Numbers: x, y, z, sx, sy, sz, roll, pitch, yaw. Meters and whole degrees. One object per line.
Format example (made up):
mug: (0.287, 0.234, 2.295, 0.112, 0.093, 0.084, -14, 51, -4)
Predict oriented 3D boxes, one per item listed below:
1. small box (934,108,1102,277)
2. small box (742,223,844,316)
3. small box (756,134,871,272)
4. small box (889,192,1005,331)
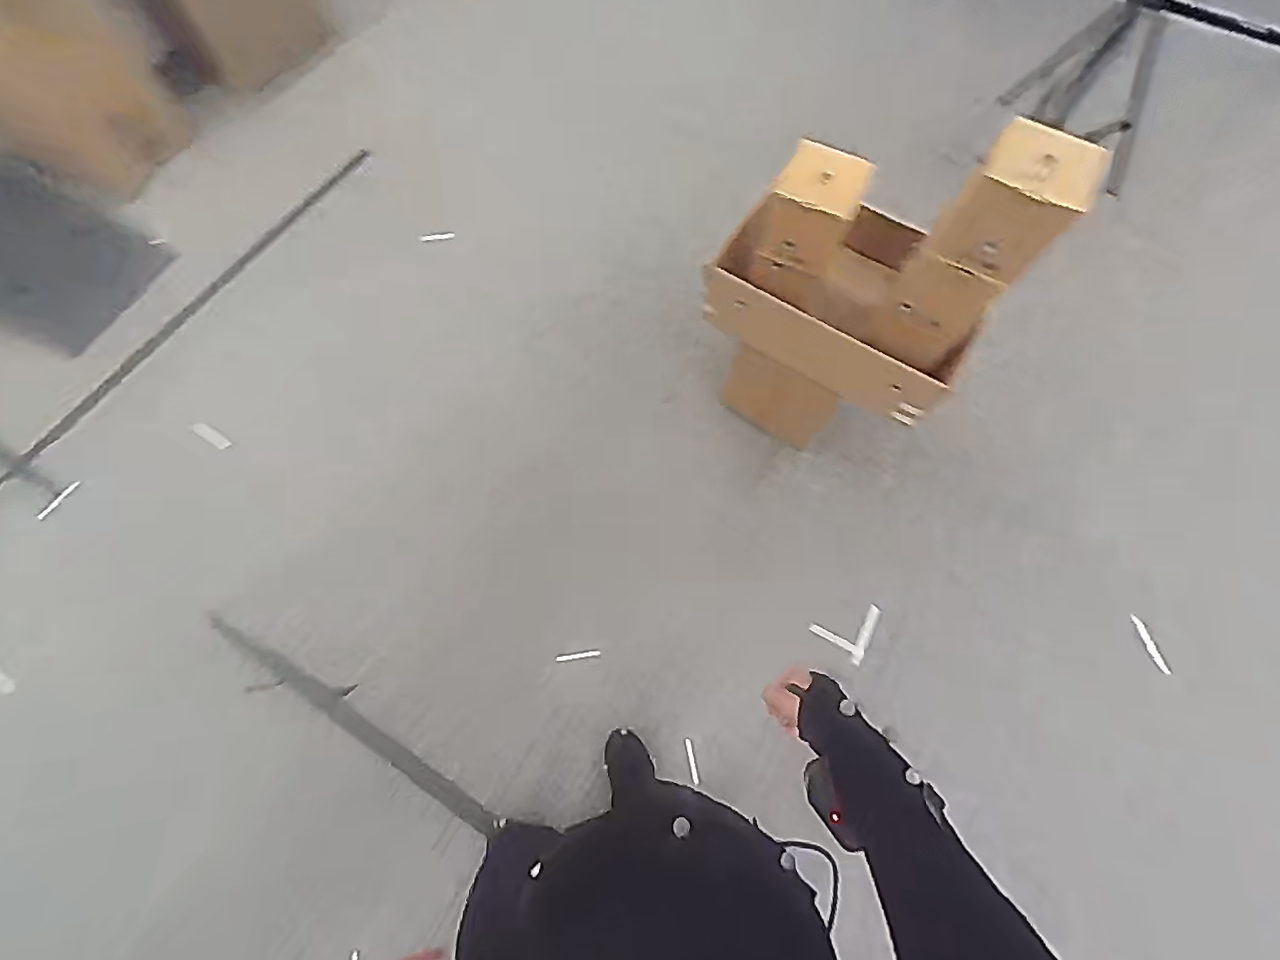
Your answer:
small box: (0.665, -0.508, 0.969, 0.168, 0.176, 0.179, 28, 72, 9)
small box: (0.367, -0.543, 1.329, 0.168, 0.176, 0.179, 28, 71, 10)
small box: (0.368, -0.595, 1.174, 0.168, 0.176, 0.179, 25, 72, 8)
small box: (0.647, -0.444, 1.120, 0.168, 0.176, 0.179, 28, 71, 8)
